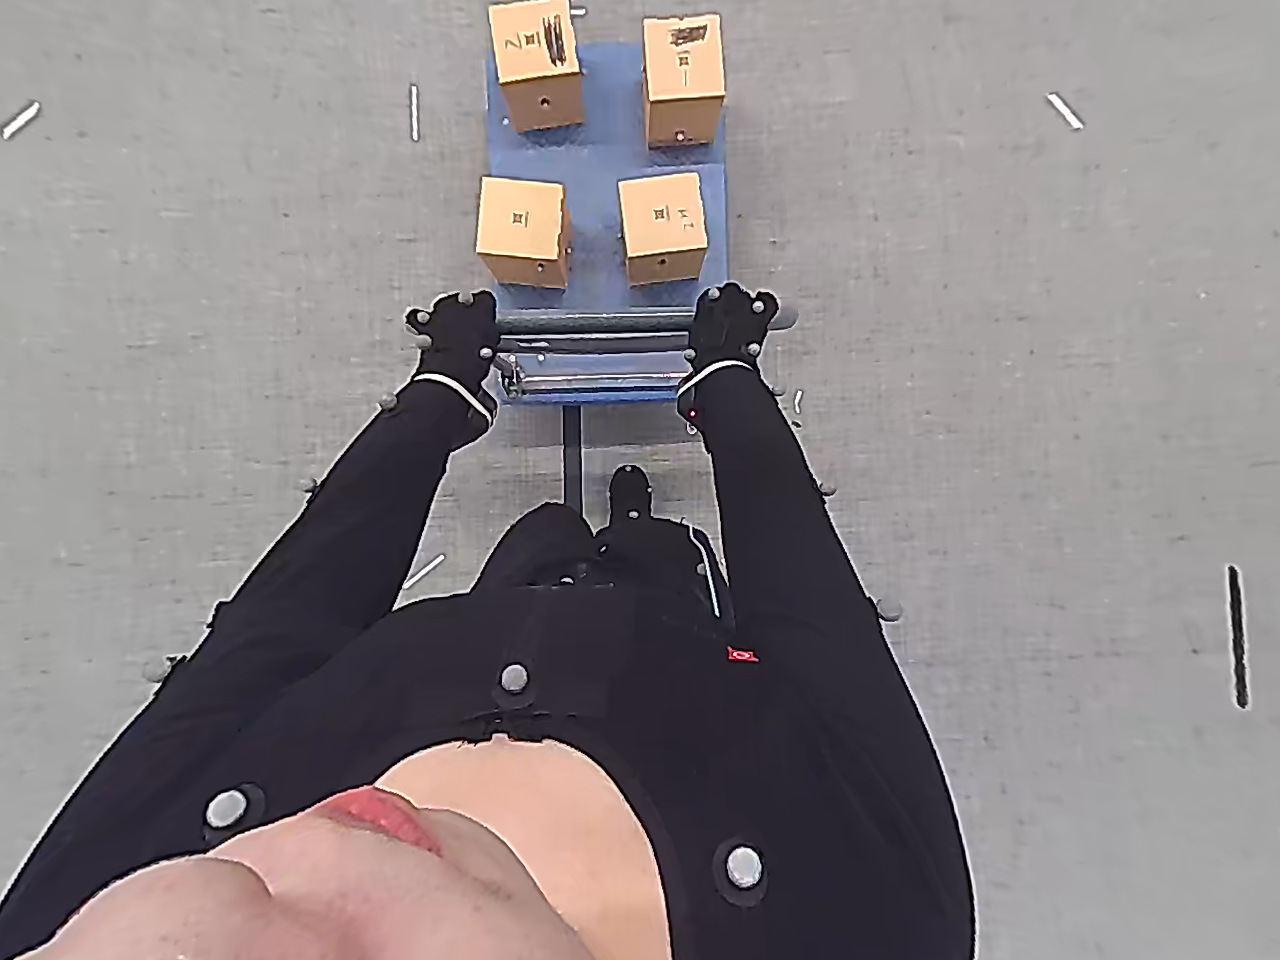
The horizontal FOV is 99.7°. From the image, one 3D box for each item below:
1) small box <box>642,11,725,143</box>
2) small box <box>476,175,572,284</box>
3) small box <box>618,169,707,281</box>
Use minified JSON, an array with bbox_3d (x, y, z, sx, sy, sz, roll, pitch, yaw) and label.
[{"bbox_3d":[0.093,-0.903,1.223,0.168,0.176,0.179,-4,91,0],"label":"small box"},{"bbox_3d":[-0.255,-0.557,1.221,0.179,0.176,0.168,4,89,-2],"label":"small box"},{"bbox_3d":[0.049,-0.567,1.223,0.179,0.176,0.168,-7,90,0],"label":"small box"}]
